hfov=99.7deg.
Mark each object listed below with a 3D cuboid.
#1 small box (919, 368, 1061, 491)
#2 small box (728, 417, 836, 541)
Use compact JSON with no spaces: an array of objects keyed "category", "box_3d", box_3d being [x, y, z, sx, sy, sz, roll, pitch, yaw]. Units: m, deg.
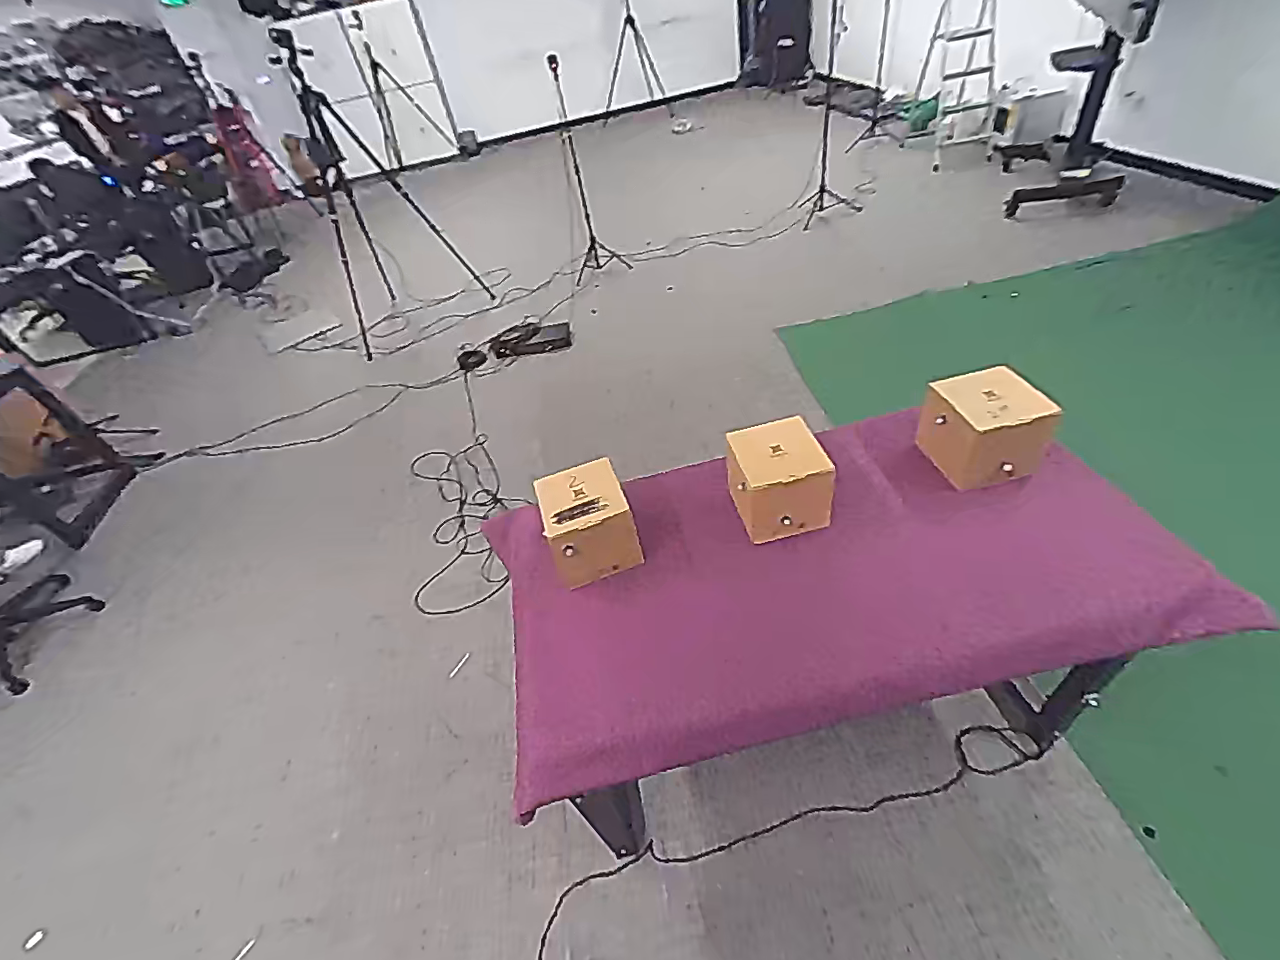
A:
[{"category":"small box","box_3d":[0.714,-0.105,1.130,0.168,0.176,0.179,-14,44,1]},{"category":"small box","box_3d":[0.286,-0.001,1.127,0.168,0.176,0.179,-13,44,-1]}]
